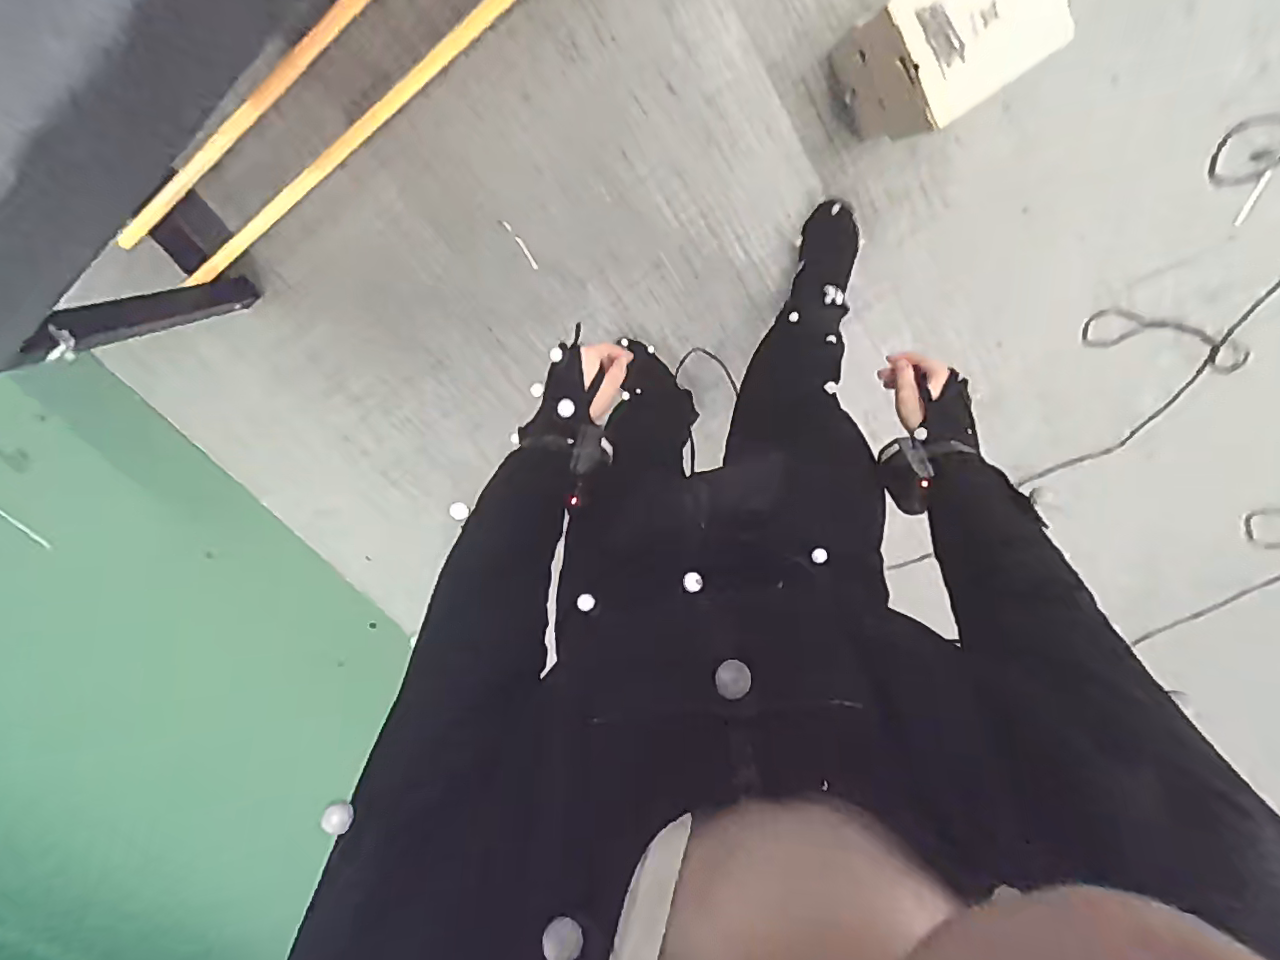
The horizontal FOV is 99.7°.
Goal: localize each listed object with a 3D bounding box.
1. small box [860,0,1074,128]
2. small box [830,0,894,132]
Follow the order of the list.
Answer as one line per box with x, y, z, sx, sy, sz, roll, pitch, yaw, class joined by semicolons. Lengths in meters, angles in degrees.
0.420;-0.612;0.728;0.179;0.176;0.168;-31;112;17;small box
0.436;-0.697;0.868;0.179;0.176;0.168;-29;112;16;small box
